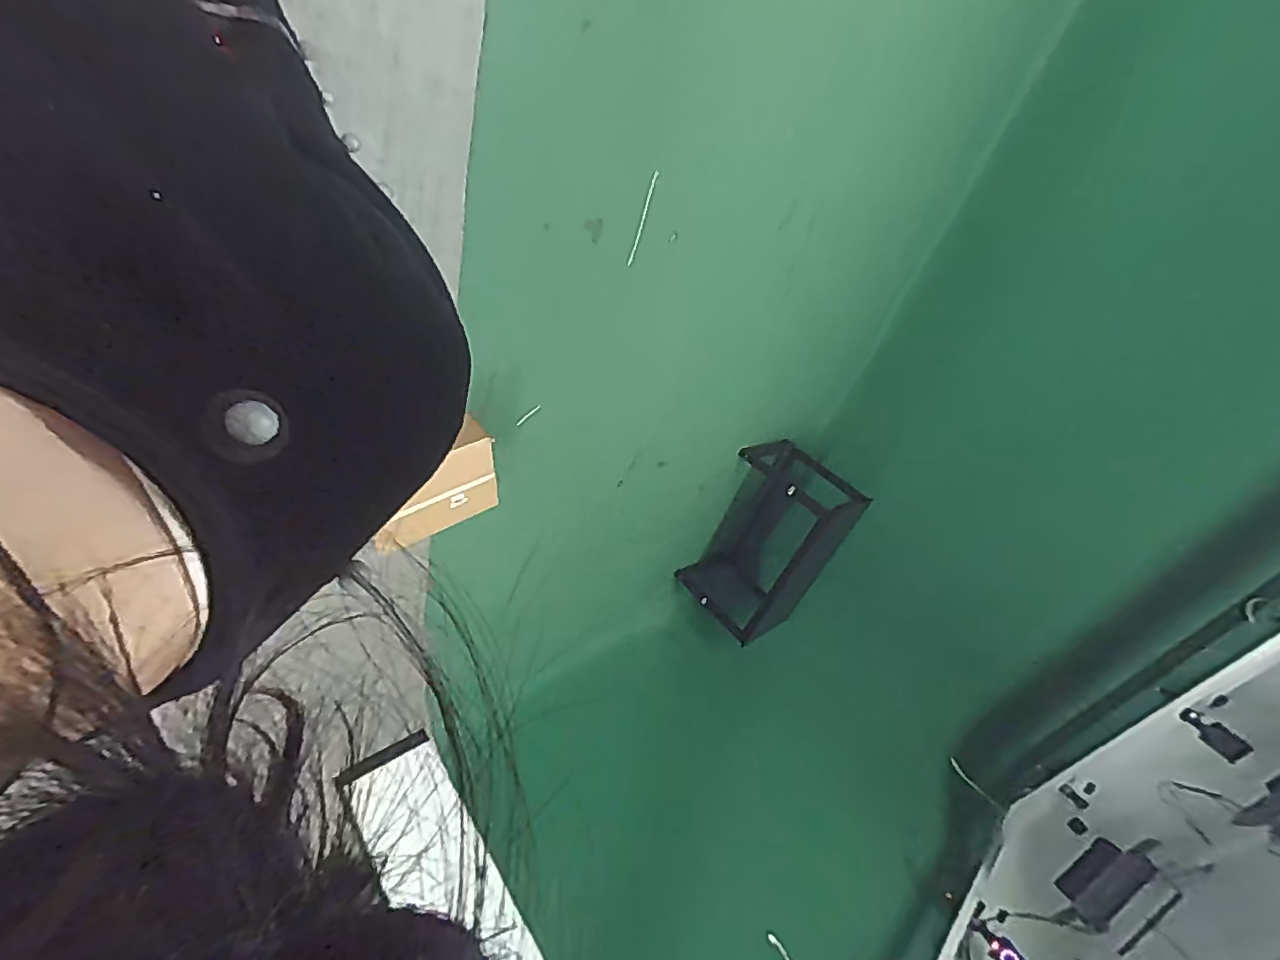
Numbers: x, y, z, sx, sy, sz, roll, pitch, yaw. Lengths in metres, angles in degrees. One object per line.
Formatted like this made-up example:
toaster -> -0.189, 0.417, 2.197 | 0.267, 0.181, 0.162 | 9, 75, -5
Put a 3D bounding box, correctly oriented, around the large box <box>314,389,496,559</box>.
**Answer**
large box -> -0.721, -0.032, 1.703 | 0.408, 0.320, 0.320 | -28, 145, -31
